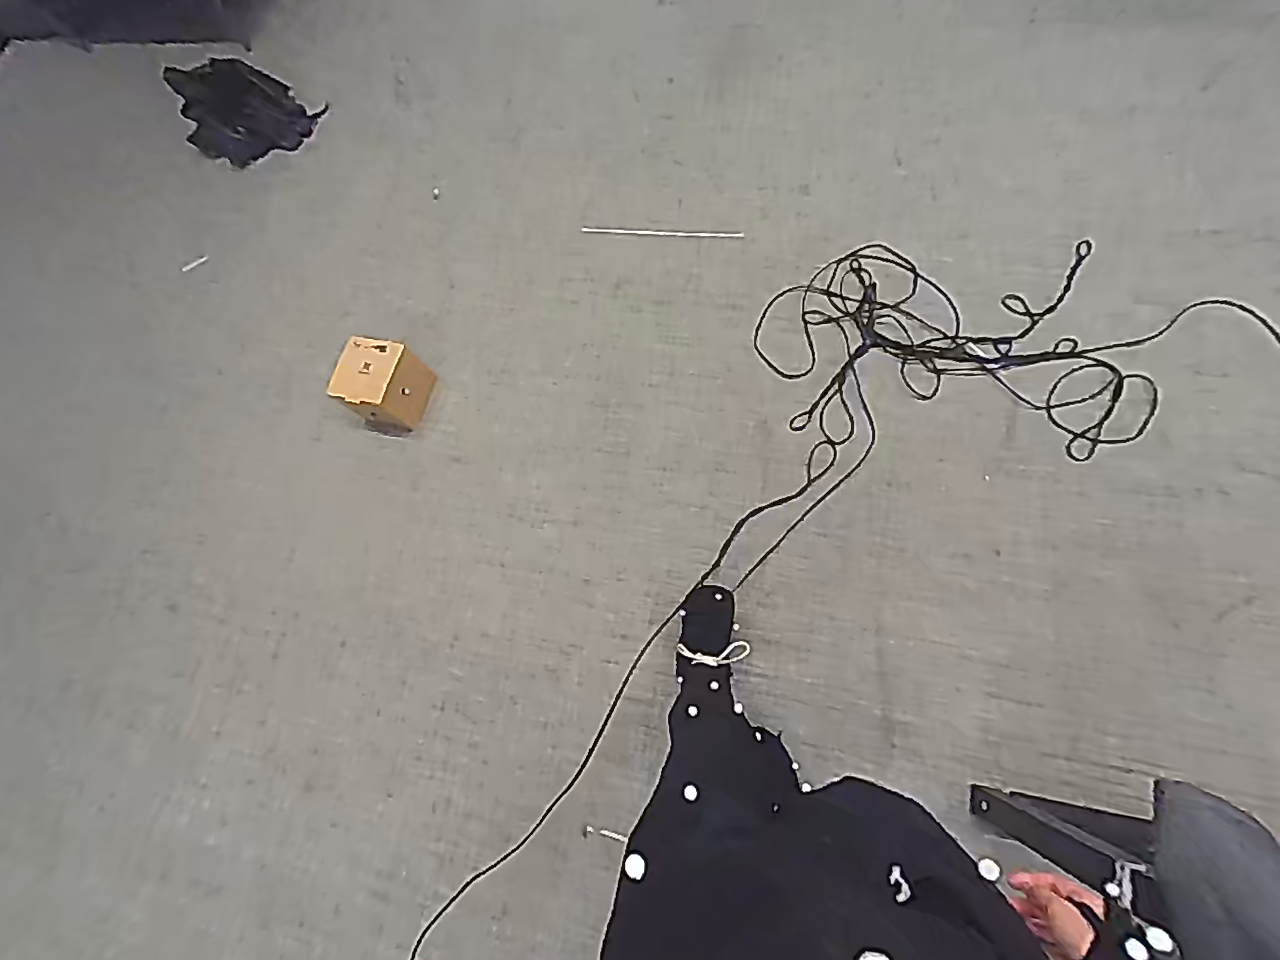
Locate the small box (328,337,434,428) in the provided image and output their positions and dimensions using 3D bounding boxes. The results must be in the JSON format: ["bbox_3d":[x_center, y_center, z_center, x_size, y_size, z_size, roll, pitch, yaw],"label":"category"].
[{"bbox_3d":[-0.686,-0.255,1.453,0.168,0.176,0.179,12,76,12],"label":"small box"}]
